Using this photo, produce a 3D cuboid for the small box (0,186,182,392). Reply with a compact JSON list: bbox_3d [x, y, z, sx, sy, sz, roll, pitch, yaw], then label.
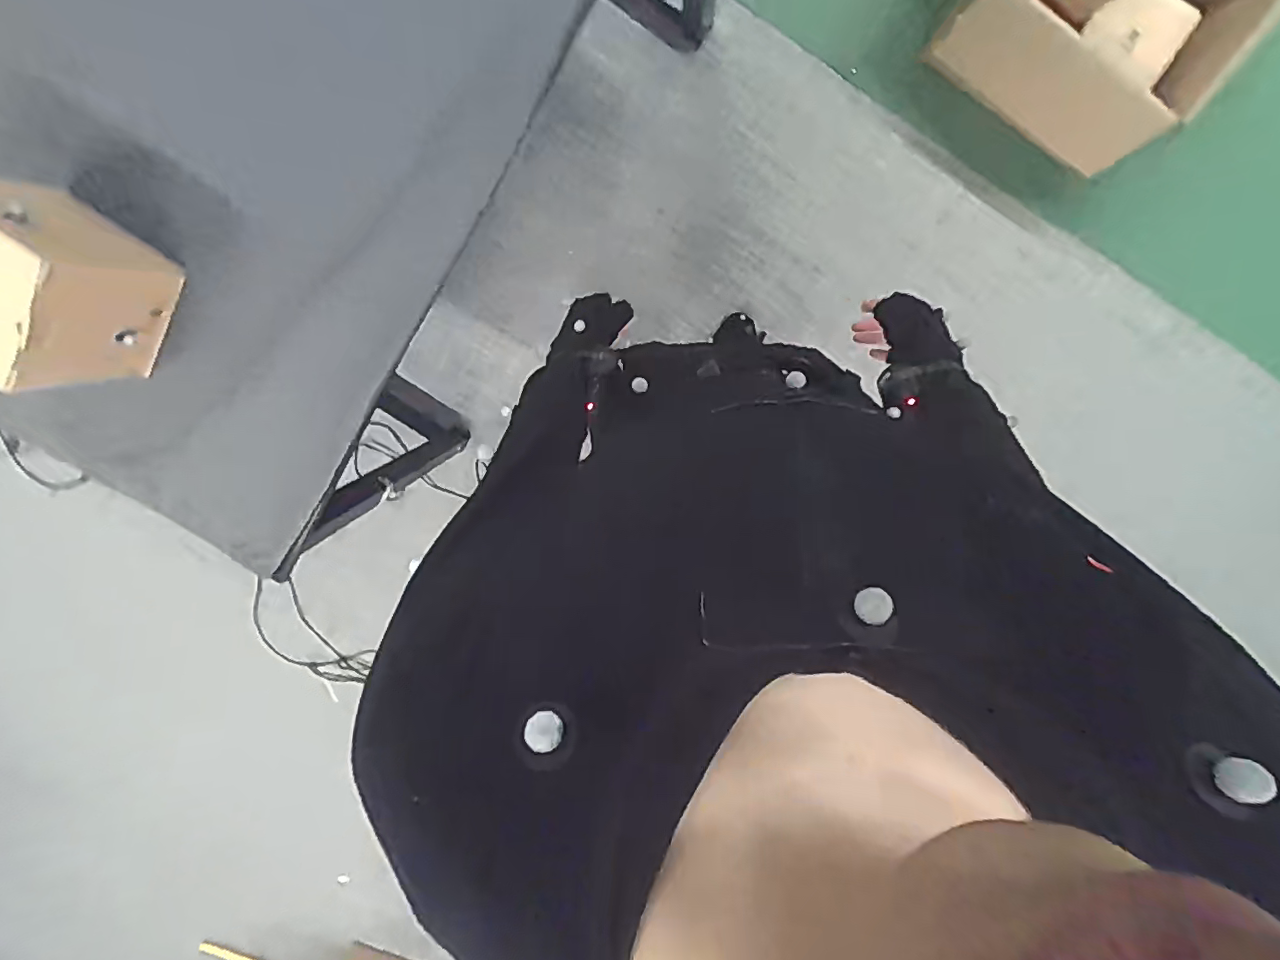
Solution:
[{"bbox_3d":[-0.712,-0.226,0.637,0.179,0.176,0.168,34,107,-7],"label":"small box"}]
